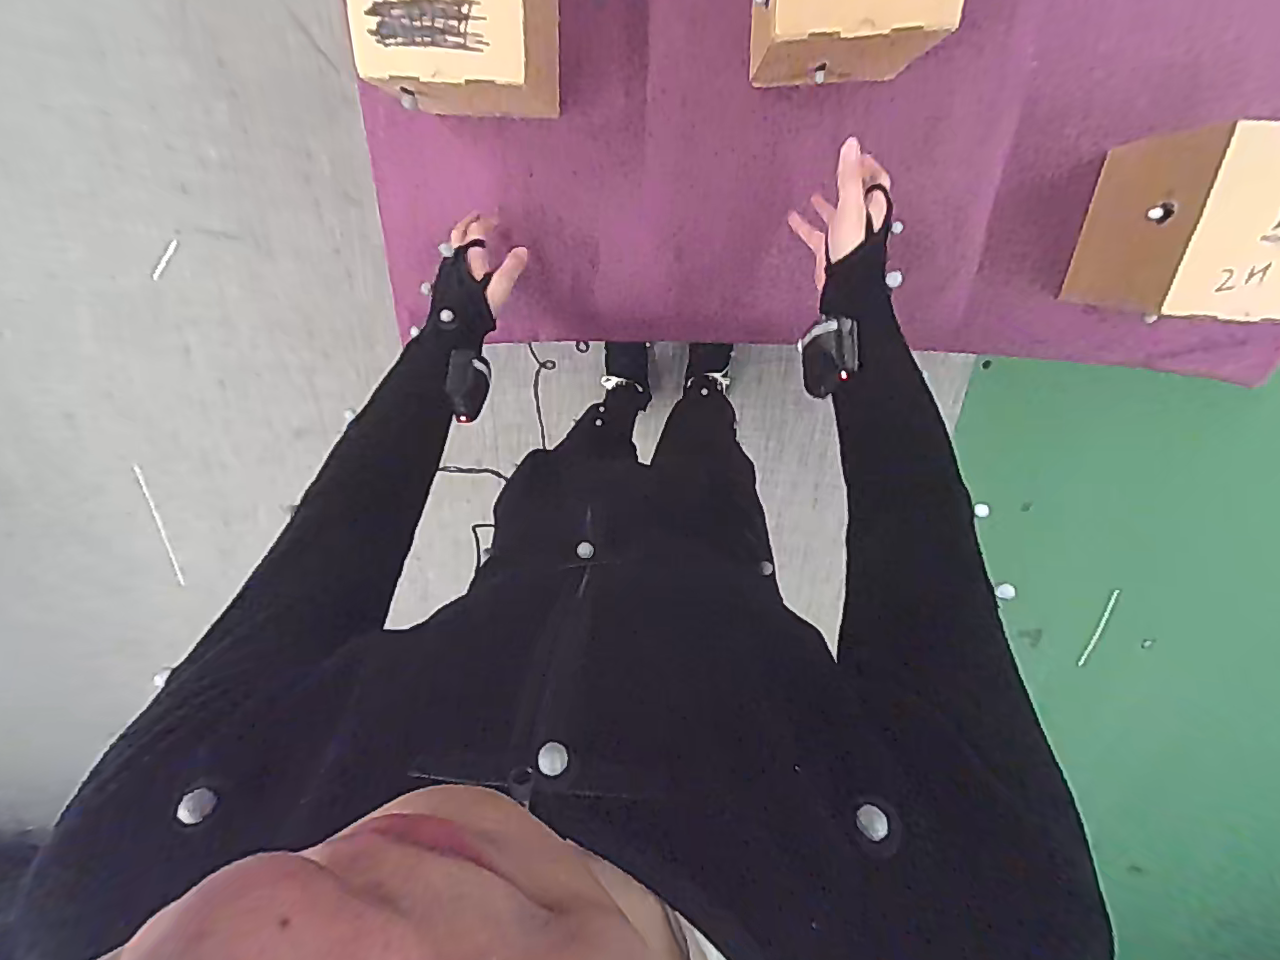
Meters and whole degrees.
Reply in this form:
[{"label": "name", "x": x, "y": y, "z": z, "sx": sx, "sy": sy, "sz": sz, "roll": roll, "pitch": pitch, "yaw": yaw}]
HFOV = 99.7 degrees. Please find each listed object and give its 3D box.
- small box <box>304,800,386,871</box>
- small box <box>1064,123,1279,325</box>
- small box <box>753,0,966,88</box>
[{"label": "small box", "x": -1.014, "y": 1.259, "z": 1.874, "sx": 0.168, "sy": 0.176, "sz": 0.179, "roll": 31, "pitch": 111, "yaw": -11}, {"label": "small box", "x": 0.630, "y": -0.277, "z": 0.605, "sx": 0.168, "sy": 0.176, "sz": 0.179, "roll": 5, "pitch": 114, "yaw": 3}, {"label": "small box", "x": 0.206, "y": -0.510, "z": 0.527, "sx": 0.168, "sy": 0.176, "sz": 0.179, "roll": -1, "pitch": 115, "yaw": 3}]
